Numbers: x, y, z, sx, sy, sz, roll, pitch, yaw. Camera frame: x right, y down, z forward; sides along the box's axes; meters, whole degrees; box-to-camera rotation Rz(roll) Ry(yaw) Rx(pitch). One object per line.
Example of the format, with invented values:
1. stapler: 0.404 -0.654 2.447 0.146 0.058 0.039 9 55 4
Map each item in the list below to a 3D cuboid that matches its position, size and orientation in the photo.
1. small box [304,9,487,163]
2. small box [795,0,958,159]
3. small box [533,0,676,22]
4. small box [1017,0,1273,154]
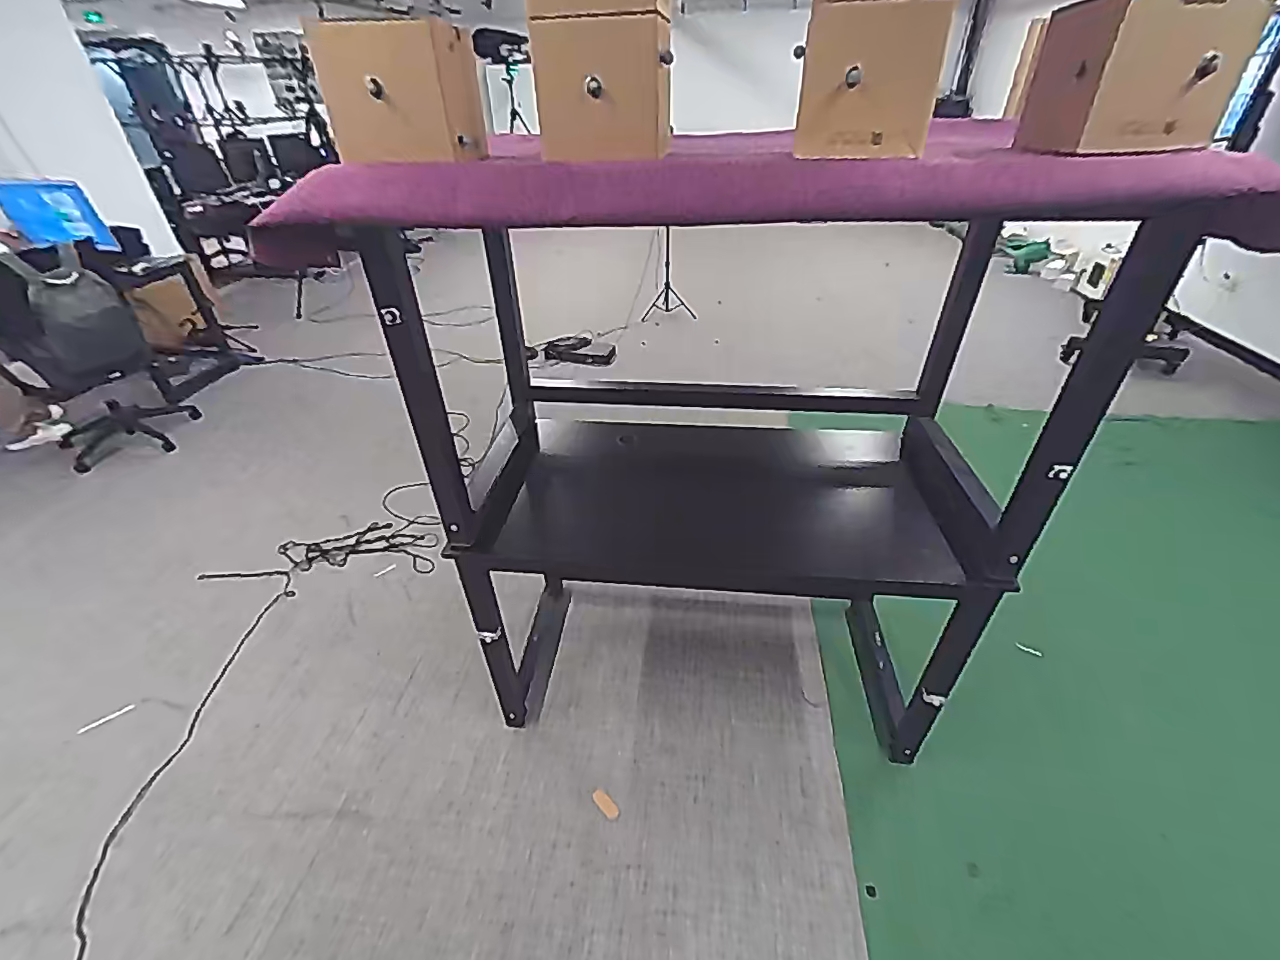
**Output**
1. small box: -0.340 -0.576 0.798 0.179 0.176 0.168 1 36 3
2. small box: 0.314 -0.550 0.754 0.168 0.176 0.179 6 35 10
3. small box: -0.044 -0.716 0.708 0.179 0.176 0.168 4 36 8
4. small box: 0.655 -0.539 0.725 0.168 0.176 0.179 2 34 5
